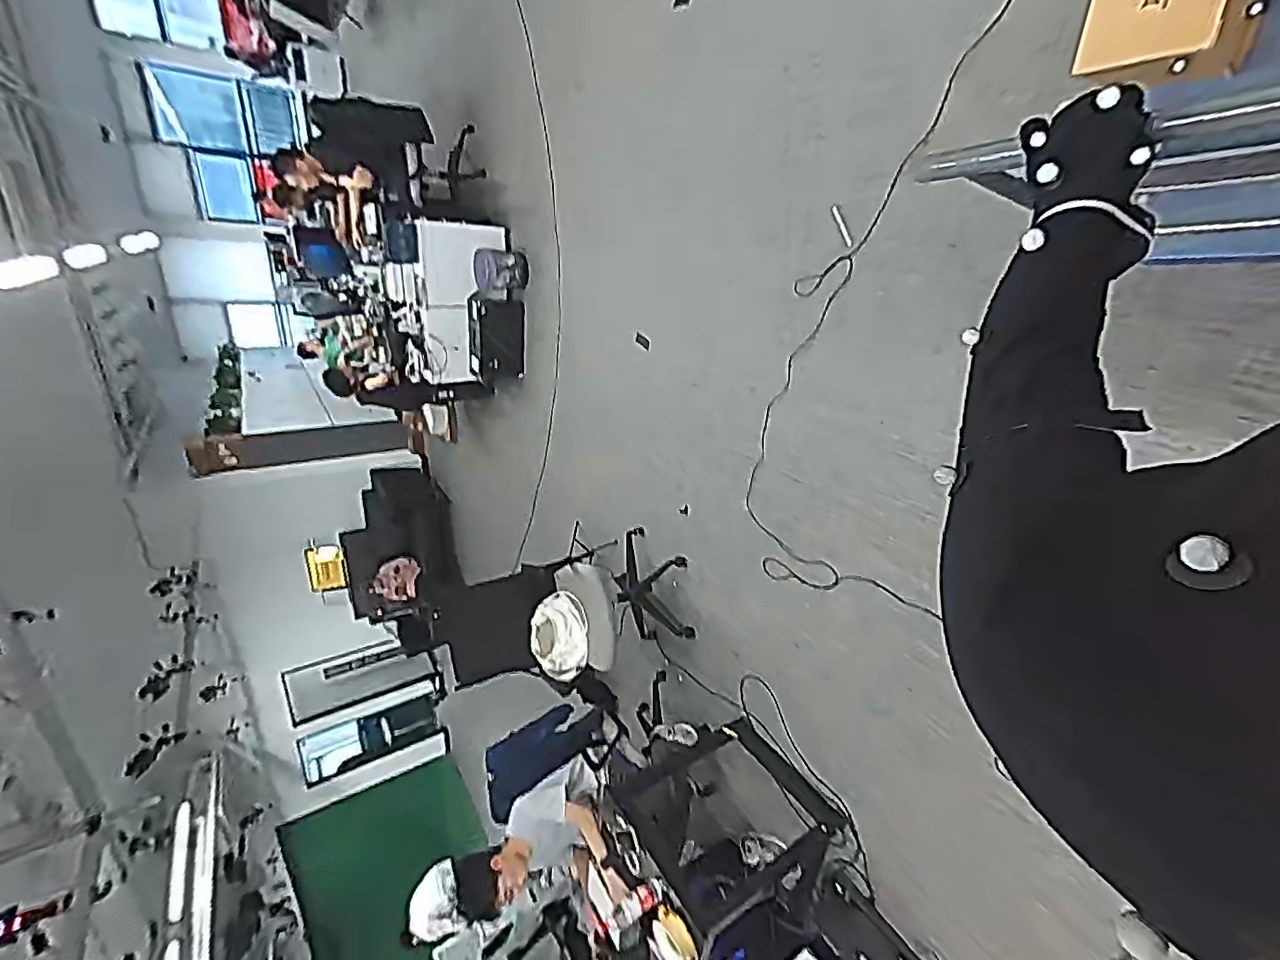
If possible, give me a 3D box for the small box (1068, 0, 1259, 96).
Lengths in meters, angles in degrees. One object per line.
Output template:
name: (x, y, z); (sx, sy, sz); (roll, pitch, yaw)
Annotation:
small box: (0.834, -0.736, 0.855); (0.179, 0.176, 0.168); (28, 122, 48)
